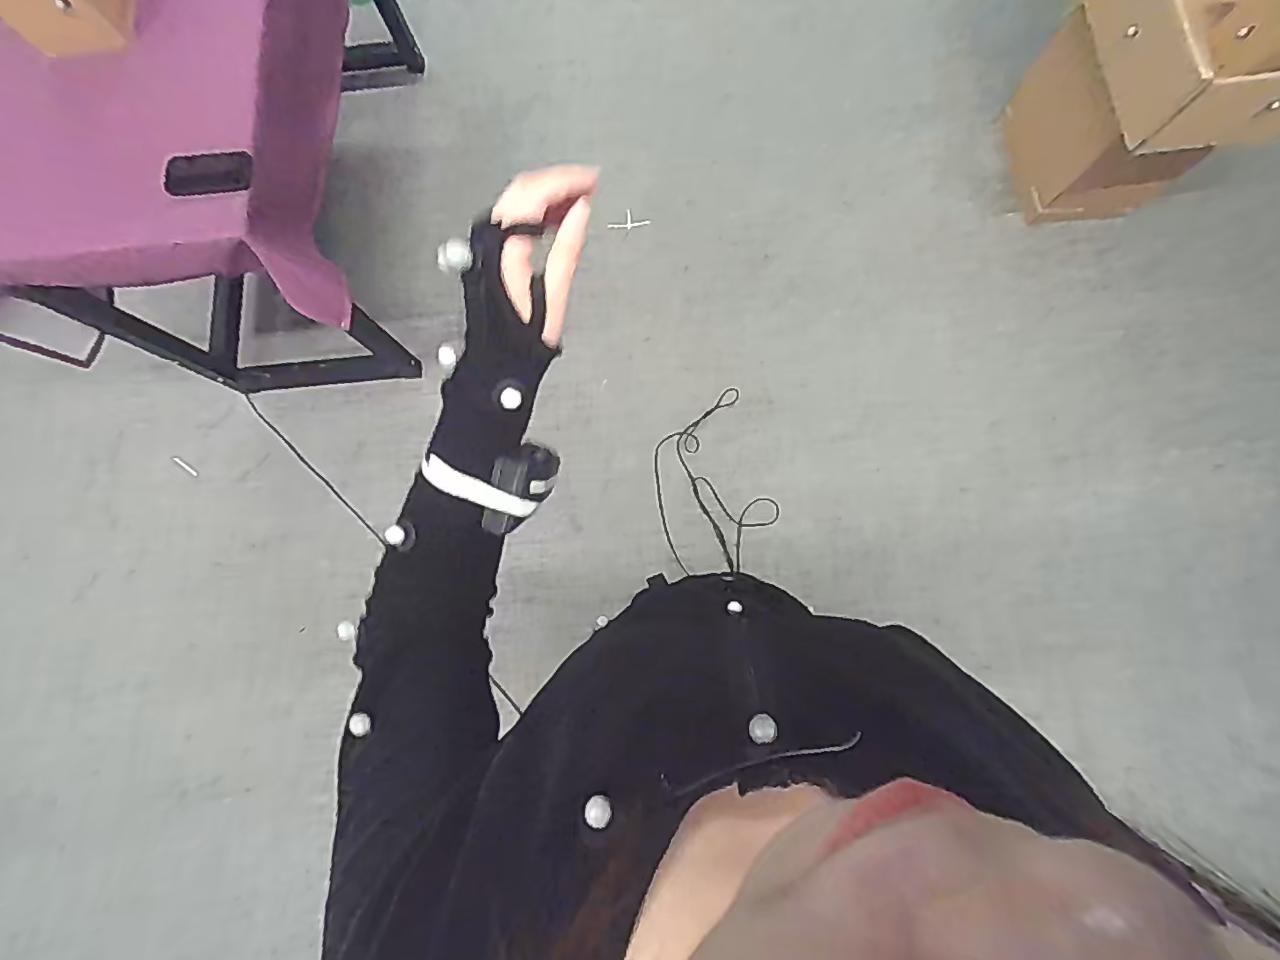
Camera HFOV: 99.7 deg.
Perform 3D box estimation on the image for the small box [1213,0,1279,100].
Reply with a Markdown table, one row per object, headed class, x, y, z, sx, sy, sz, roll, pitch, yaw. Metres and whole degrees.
| class | x | y | z | sx | sy | sz | roll | pitch | yaw |
| --- | --- | --- | --- | --- | --- | --- | --- | --- | --- |
| small box | 1.344 | -0.920 | 1.111 | 0.179 | 0.176 | 0.168 | 1 | 79 | 5 |
